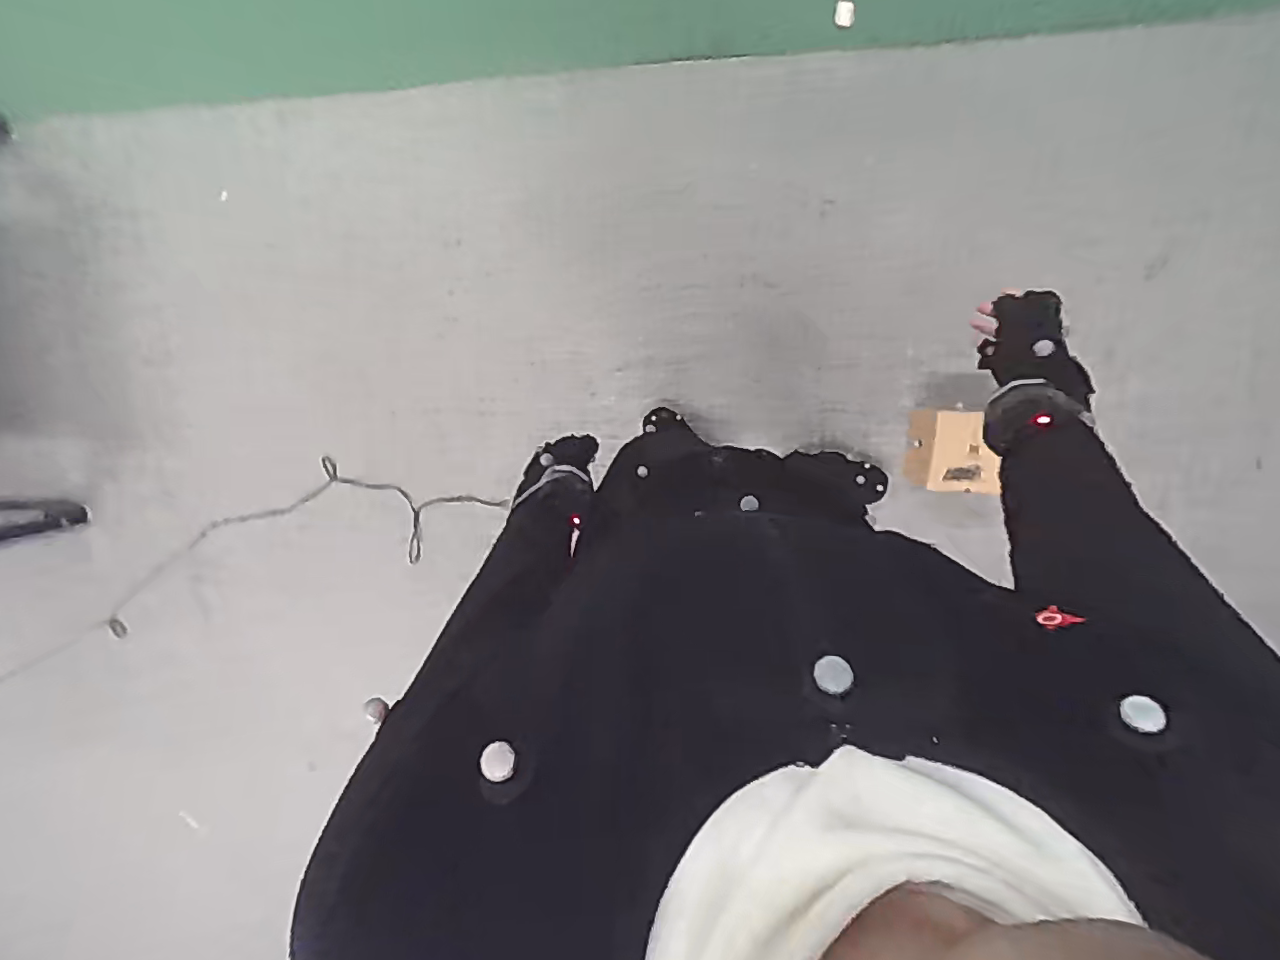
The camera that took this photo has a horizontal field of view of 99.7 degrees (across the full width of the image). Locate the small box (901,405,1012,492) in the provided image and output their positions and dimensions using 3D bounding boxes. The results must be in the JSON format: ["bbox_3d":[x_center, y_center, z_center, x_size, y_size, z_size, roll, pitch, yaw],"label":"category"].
[{"bbox_3d":[0.721,-0.079,1.253,0.168,0.176,0.179,2,102,8],"label":"small box"}]
